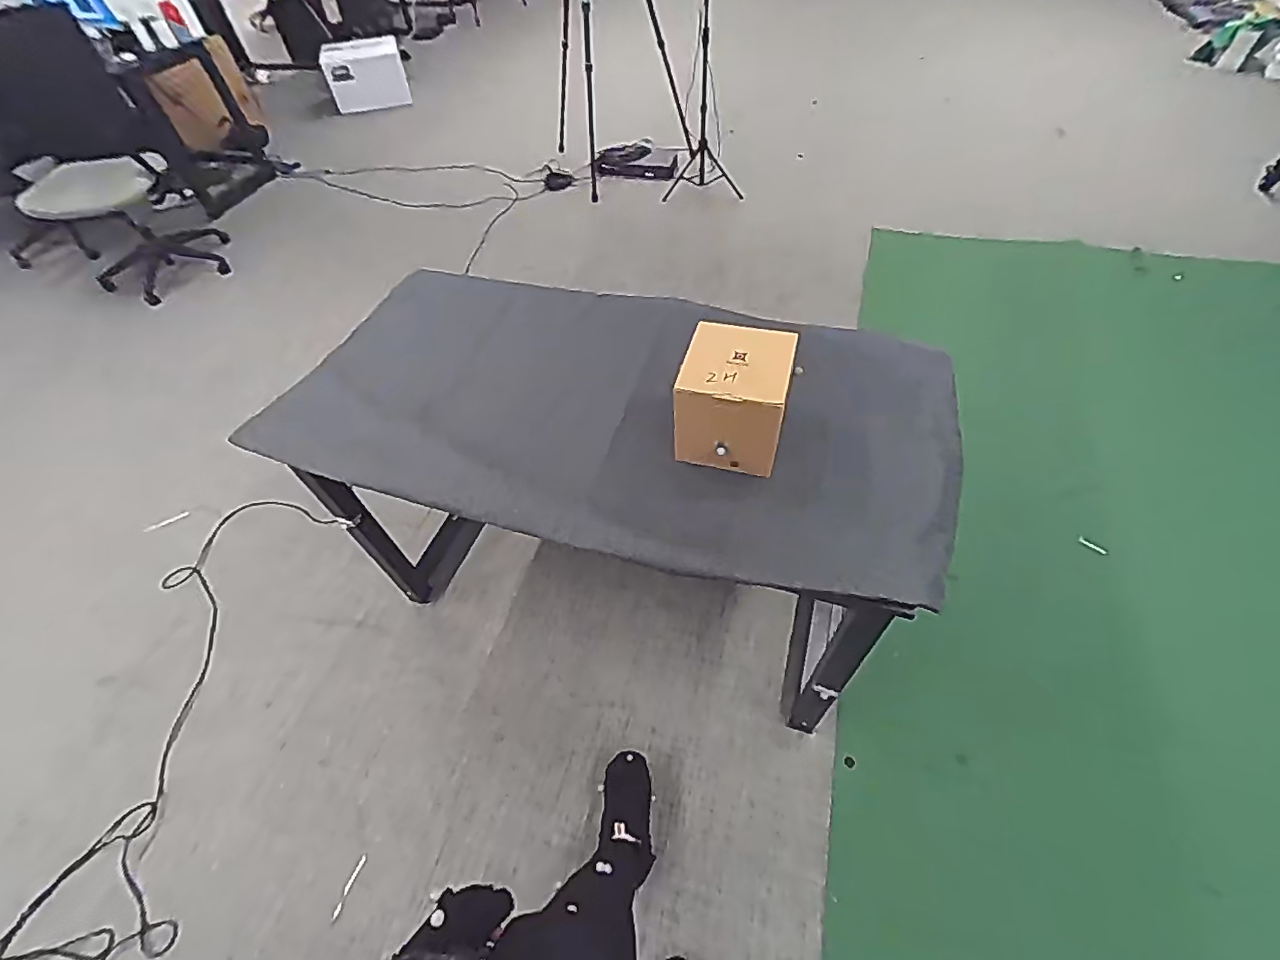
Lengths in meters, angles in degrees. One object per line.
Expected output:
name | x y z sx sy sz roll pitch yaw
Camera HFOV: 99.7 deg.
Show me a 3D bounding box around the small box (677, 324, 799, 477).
small box | 0.160 -0.133 0.908 0.168 0.176 0.179 11 53 14
